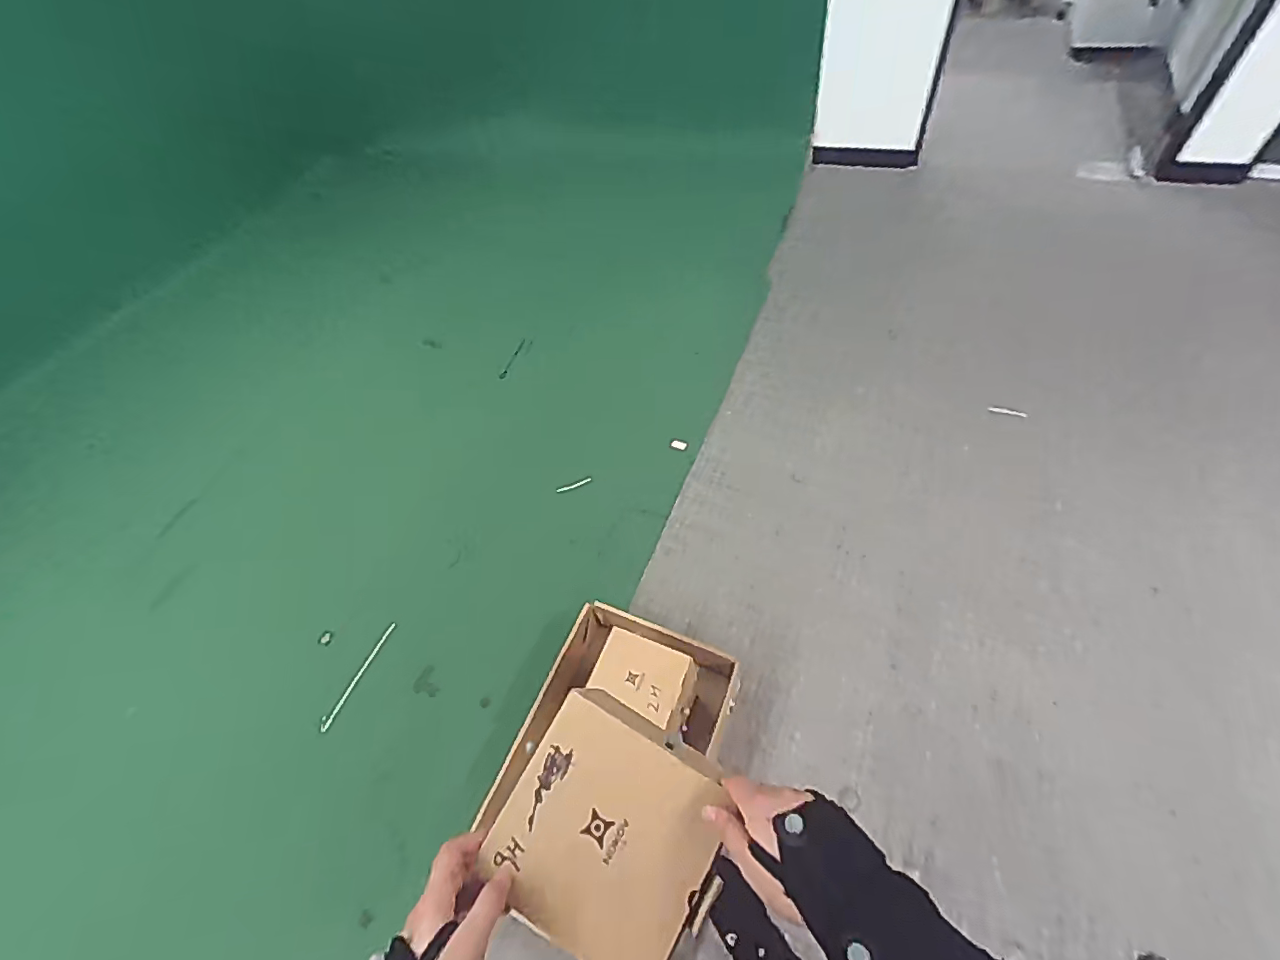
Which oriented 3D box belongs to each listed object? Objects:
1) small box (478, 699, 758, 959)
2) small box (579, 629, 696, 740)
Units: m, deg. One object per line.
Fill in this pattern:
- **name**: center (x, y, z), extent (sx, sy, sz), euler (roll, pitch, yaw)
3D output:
- **small box**: center (-0.013, 0.326, 0.513), extent (0.179, 0.176, 0.168), euler (29, 72, 14)
- **small box**: center (0.004, 0.430, 1.095), extent (0.179, 0.176, 0.168), euler (17, 61, 19)
